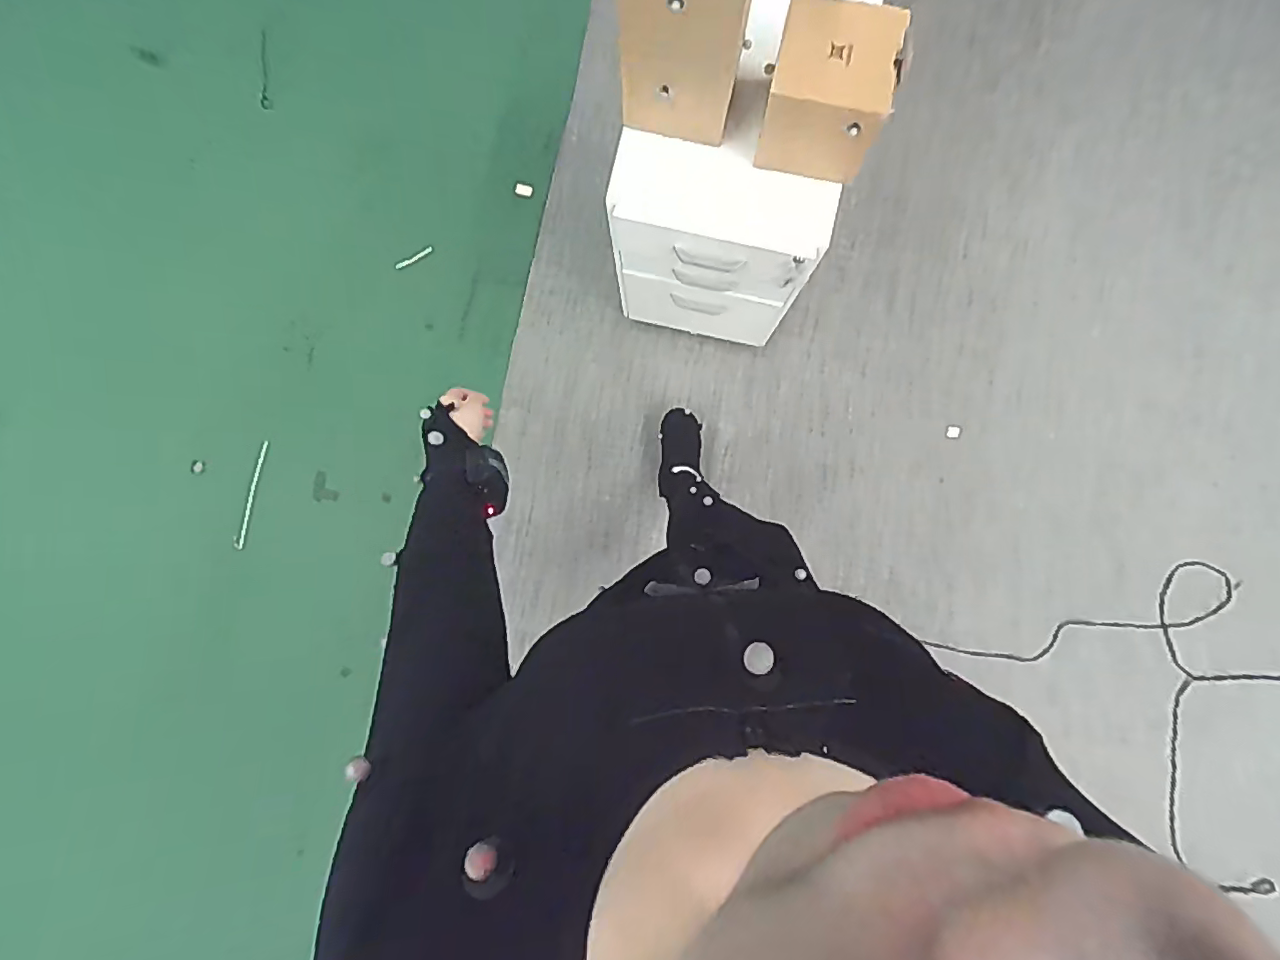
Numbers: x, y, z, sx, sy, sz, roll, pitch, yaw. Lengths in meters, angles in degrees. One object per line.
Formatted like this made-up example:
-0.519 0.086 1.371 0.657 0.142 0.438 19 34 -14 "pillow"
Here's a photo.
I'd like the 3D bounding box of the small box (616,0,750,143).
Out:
0.068 -0.678 0.864 0.179 0.176 0.168 12 88 2 "small box"
